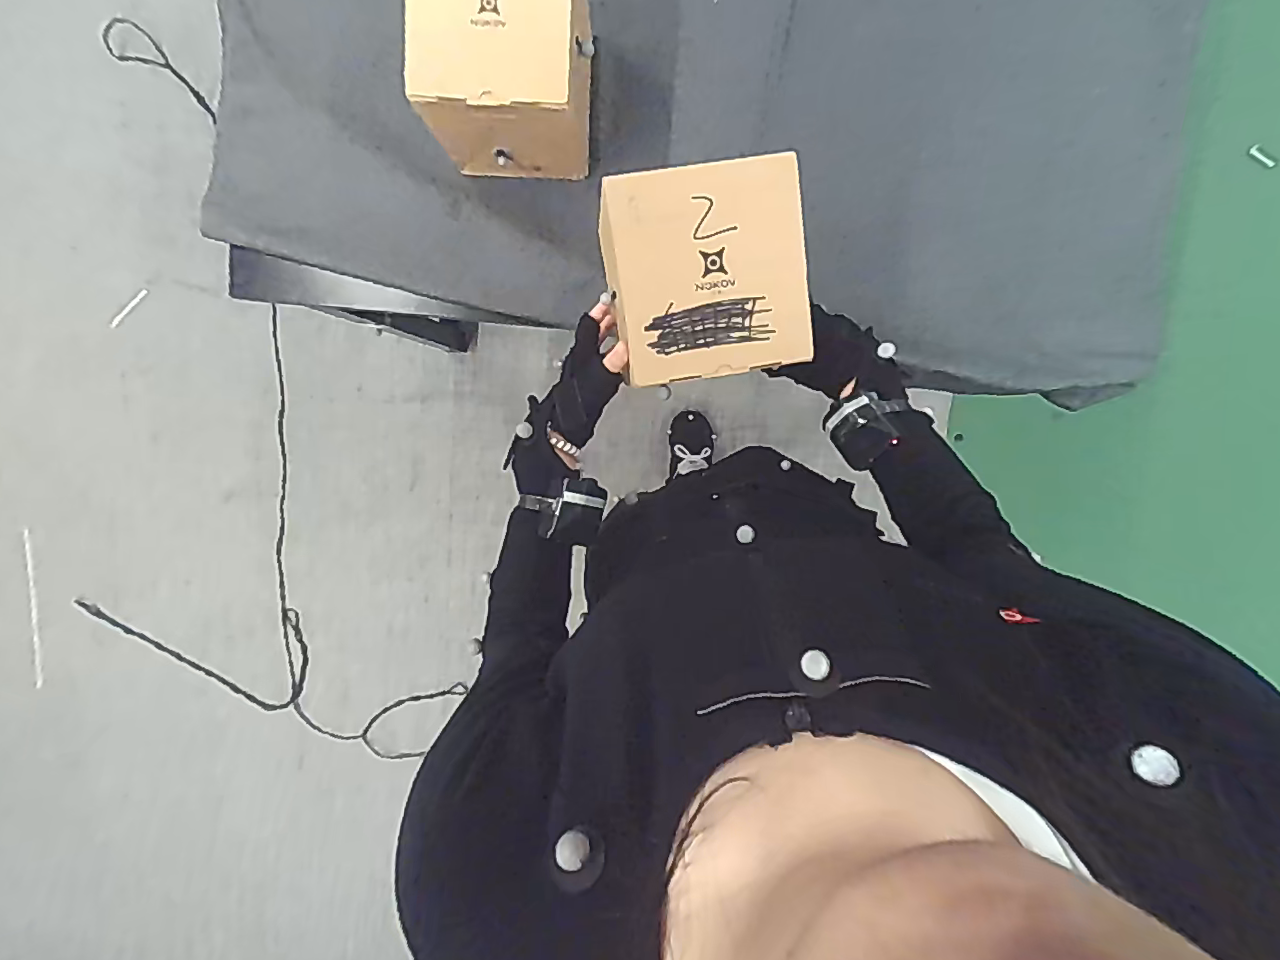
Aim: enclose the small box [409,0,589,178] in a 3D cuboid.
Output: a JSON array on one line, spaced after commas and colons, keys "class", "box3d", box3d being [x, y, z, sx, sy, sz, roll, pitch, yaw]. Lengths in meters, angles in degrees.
[{"class": "small box", "box3d": [-0.149, -0.478, 0.619, 0.168, 0.176, 0.179, 3, 97, -1]}]
